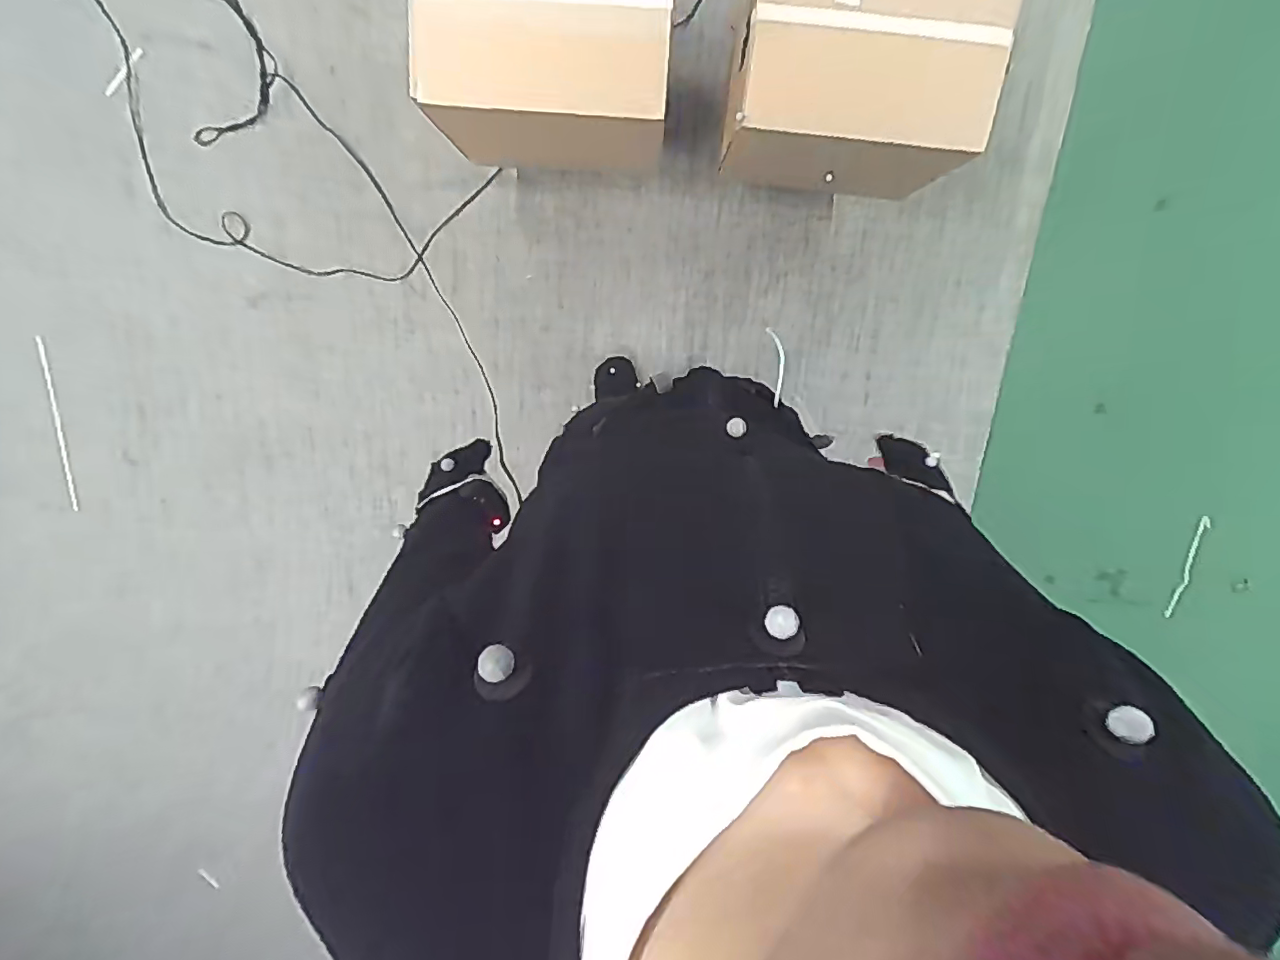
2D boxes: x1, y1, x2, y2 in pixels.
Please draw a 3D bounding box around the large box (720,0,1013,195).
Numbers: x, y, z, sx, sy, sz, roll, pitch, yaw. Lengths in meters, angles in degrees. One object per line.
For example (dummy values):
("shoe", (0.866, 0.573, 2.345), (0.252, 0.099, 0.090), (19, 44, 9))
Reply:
("large box", (0.382, -0.745, 1.000), (0.408, 0.320, 0.320), (6, 104, 0))
